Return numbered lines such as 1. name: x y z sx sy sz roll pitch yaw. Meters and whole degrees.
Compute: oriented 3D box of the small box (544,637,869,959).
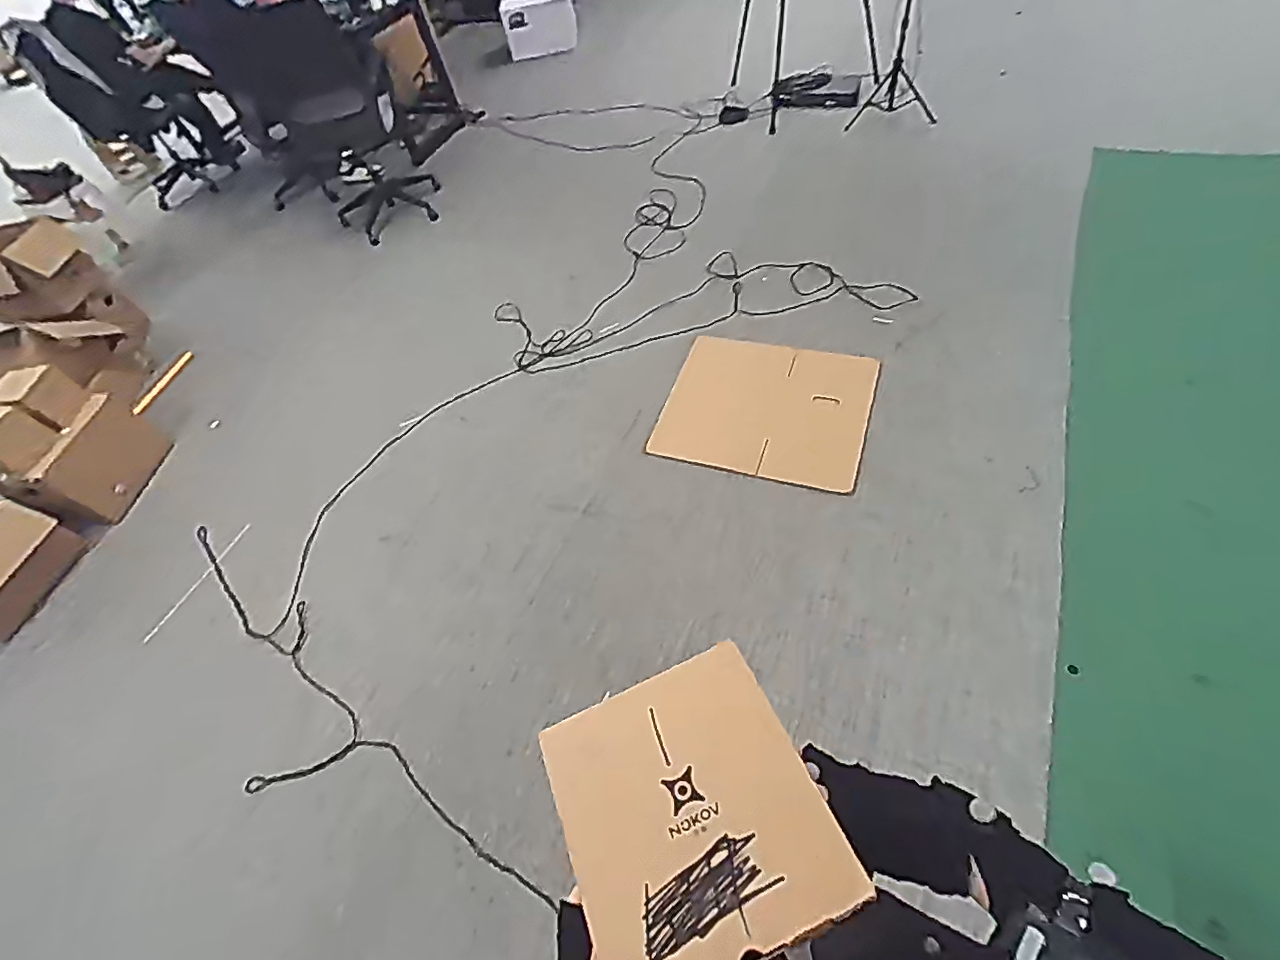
1. small box: 0.045 0.259 0.424 0.168 0.176 0.179 -23 52 -7
